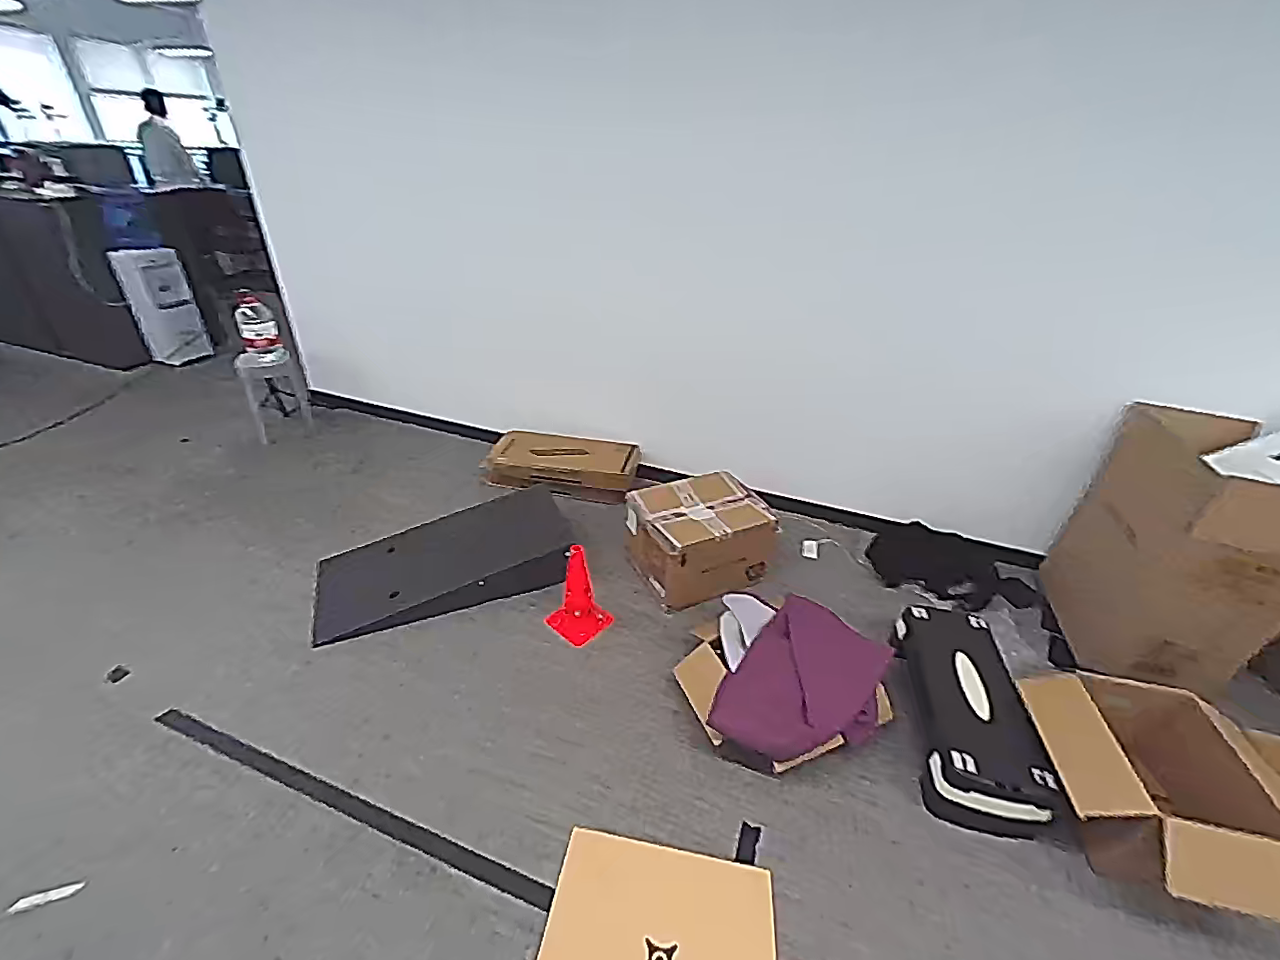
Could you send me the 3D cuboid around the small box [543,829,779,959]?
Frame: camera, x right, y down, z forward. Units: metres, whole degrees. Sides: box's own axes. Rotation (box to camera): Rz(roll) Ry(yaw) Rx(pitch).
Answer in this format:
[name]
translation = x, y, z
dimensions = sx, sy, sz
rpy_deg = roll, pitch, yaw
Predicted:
[small box]
translation = 0.007, 0.408, 0.397
dimensions = 0.168, 0.176, 0.179
rpy_deg = 7, 24, 6
